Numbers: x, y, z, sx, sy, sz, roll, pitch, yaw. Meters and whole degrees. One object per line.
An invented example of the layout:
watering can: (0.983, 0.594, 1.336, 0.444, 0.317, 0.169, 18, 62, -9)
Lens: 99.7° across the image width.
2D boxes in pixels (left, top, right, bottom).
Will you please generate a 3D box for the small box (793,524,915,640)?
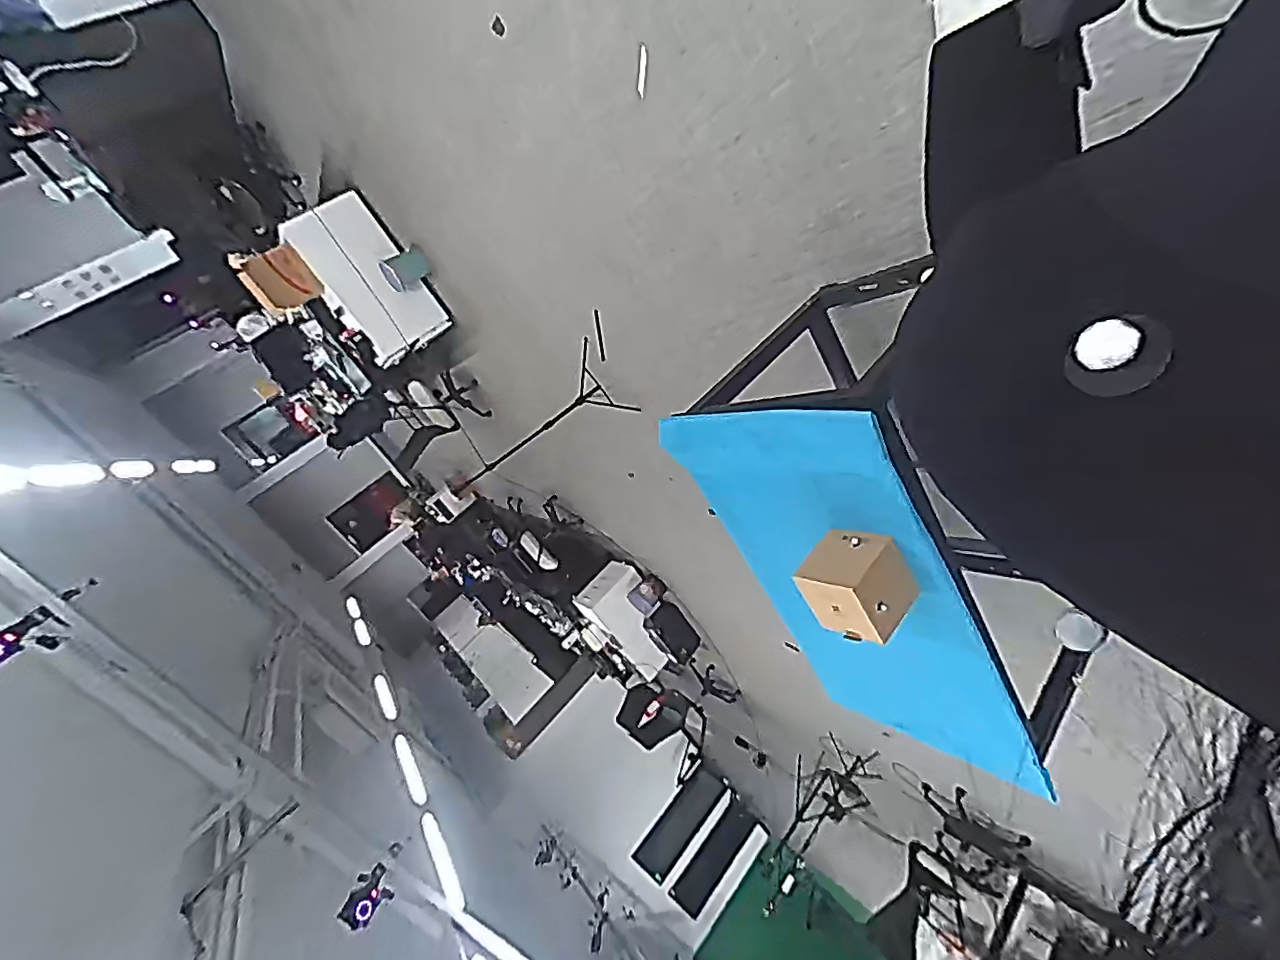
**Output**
small box: (0.489, 0.224, 1.225, 0.179, 0.176, 0.168, 55, 155, -21)
